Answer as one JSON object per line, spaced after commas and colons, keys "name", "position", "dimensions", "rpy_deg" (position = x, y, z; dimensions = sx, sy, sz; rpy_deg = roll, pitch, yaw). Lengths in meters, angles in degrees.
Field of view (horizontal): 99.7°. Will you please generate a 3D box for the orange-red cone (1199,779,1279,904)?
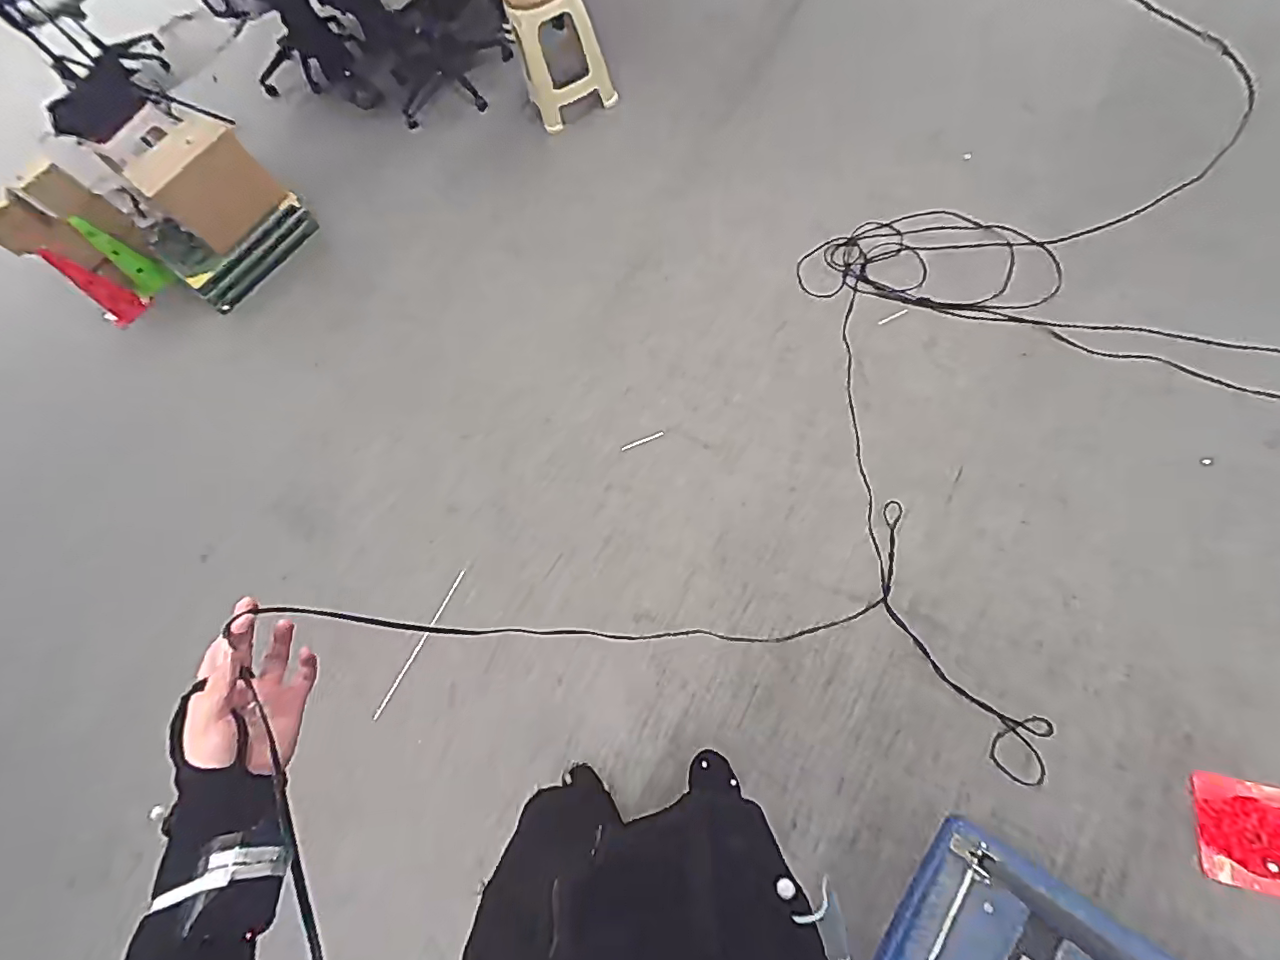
{"name": "orange-red cone", "position": [1.207, 0.657, 0.923], "dimensions": [0.198, 0.360, 0.199], "rpy_deg": [9, 69, 16]}
